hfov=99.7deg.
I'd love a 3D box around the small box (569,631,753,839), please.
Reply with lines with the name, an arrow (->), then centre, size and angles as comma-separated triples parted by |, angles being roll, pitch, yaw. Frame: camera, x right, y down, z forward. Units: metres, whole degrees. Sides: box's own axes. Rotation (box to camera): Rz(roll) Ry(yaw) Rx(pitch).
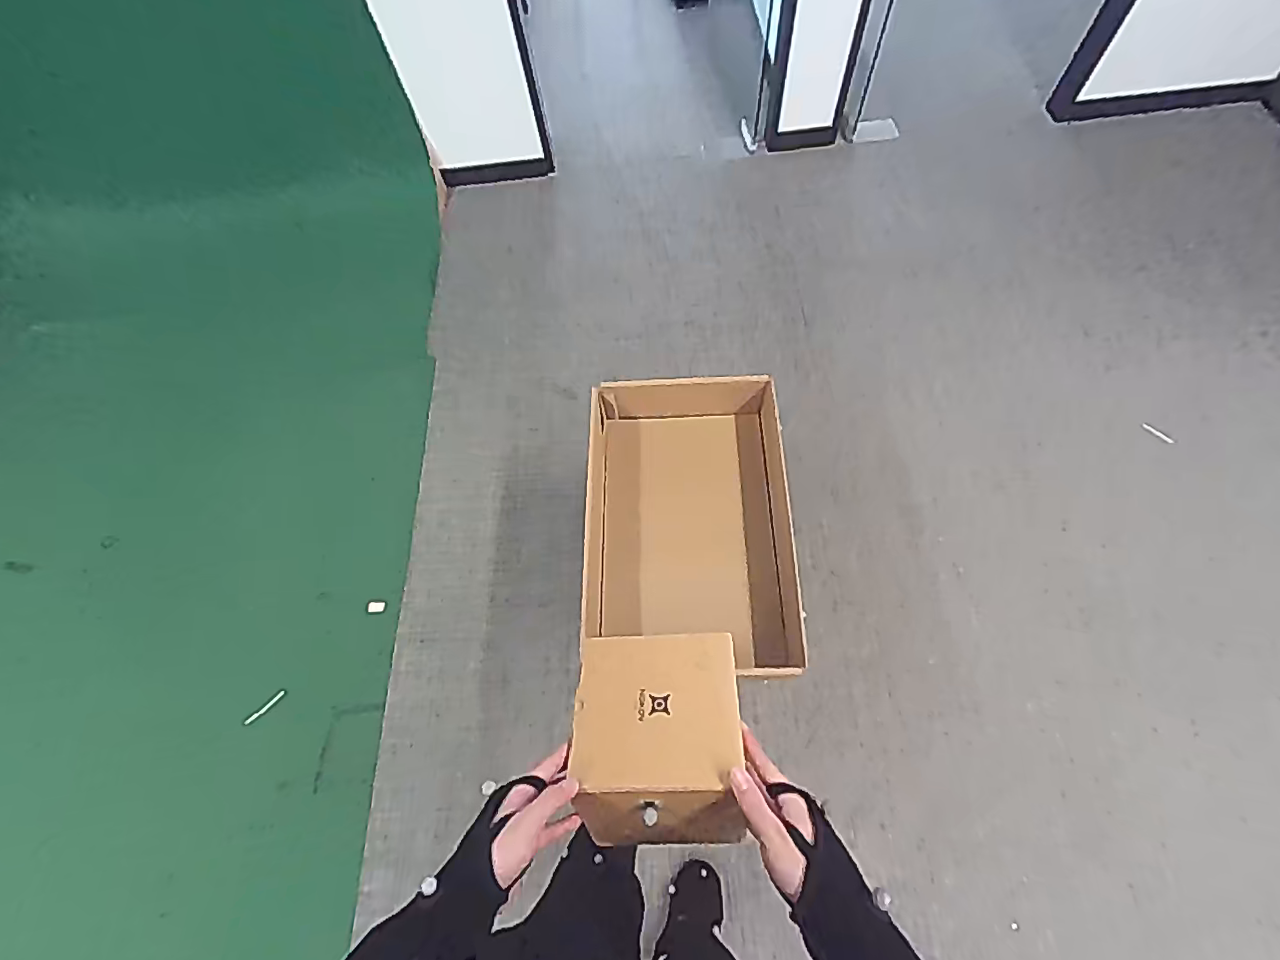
small box -> 0.031, 0.291, 0.616 | 0.179, 0.176, 0.168 | -5, 42, 7
